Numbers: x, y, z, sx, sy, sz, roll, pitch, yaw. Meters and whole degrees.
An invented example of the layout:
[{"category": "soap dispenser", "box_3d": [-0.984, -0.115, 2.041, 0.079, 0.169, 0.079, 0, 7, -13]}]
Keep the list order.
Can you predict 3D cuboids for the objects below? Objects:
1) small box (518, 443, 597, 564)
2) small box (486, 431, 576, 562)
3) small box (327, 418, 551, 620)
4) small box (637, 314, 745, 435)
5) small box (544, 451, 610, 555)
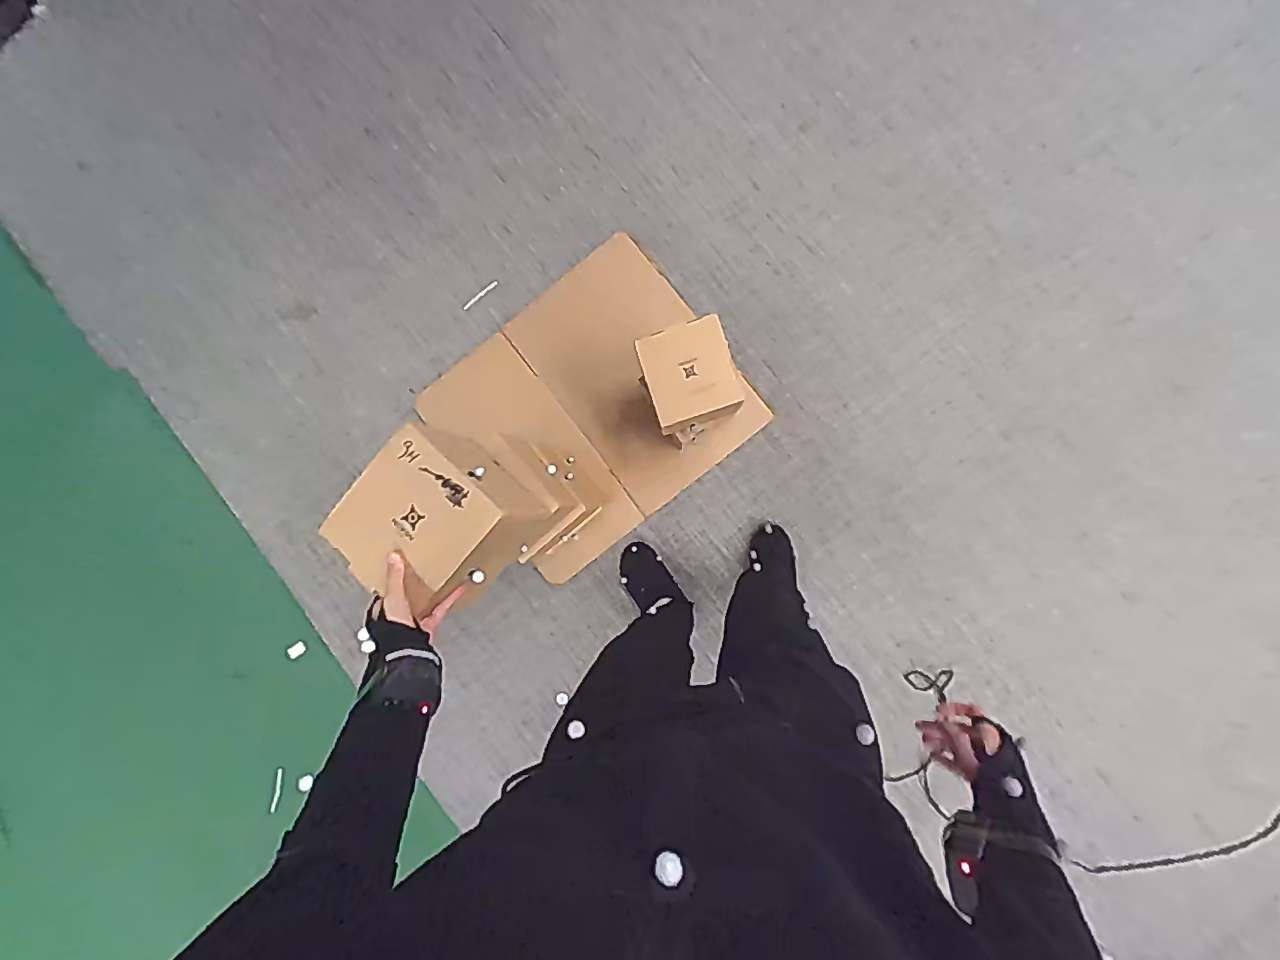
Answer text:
[{"category": "small box", "box_3d": [-0.207, 0.044, 1.100, 0.168, 0.176, 0.179, -39, 86, 2]}, {"category": "small box", "box_3d": [-0.234, 0.039, 0.938, 0.179, 0.176, 0.168, -41, 86, 2]}, {"category": "small box", "box_3d": [-0.244, 0.048, 0.698, 0.168, 0.176, 0.179, 43, 95, 9]}, {"category": "small box", "box_3d": [0.097, -0.200, 1.079, 0.168, 0.176, 0.179, -17, 88, 3]}, {"category": "small box", "box_3d": [-0.189, 0.050, 1.264, 0.168, 0.176, 0.179, -40, 86, 3]}]
